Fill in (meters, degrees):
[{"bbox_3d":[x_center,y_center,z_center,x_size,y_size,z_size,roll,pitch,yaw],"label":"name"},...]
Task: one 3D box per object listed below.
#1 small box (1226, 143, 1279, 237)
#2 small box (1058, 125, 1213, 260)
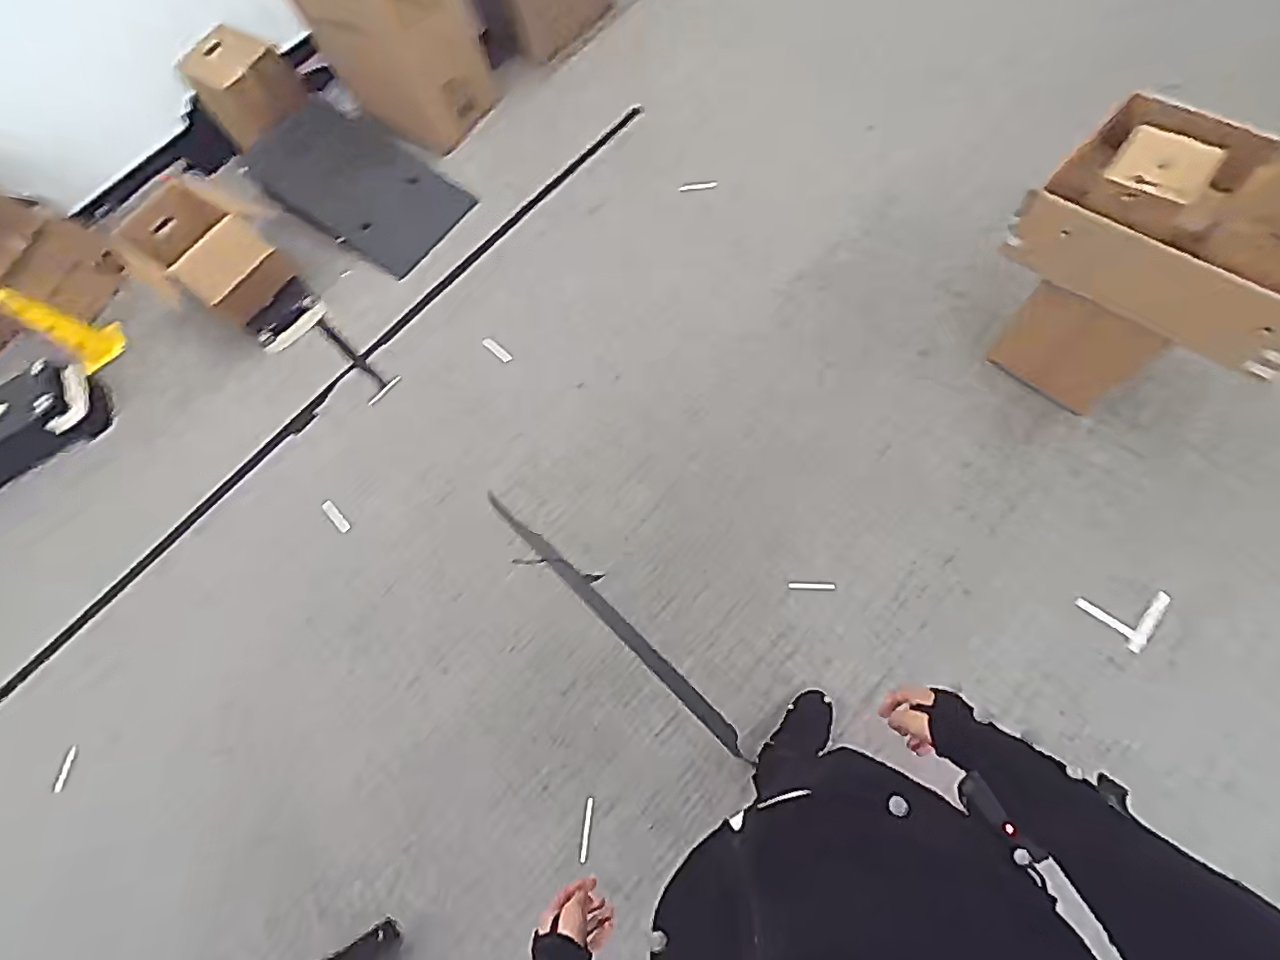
[{"bbox_3d":[1.238,-0.564,0.970,0.168,0.176,0.179,40,81,23],"label":"small box"},{"bbox_3d":[1.086,-0.633,1.202,0.168,0.176,0.179,35,78,21],"label":"small box"}]
